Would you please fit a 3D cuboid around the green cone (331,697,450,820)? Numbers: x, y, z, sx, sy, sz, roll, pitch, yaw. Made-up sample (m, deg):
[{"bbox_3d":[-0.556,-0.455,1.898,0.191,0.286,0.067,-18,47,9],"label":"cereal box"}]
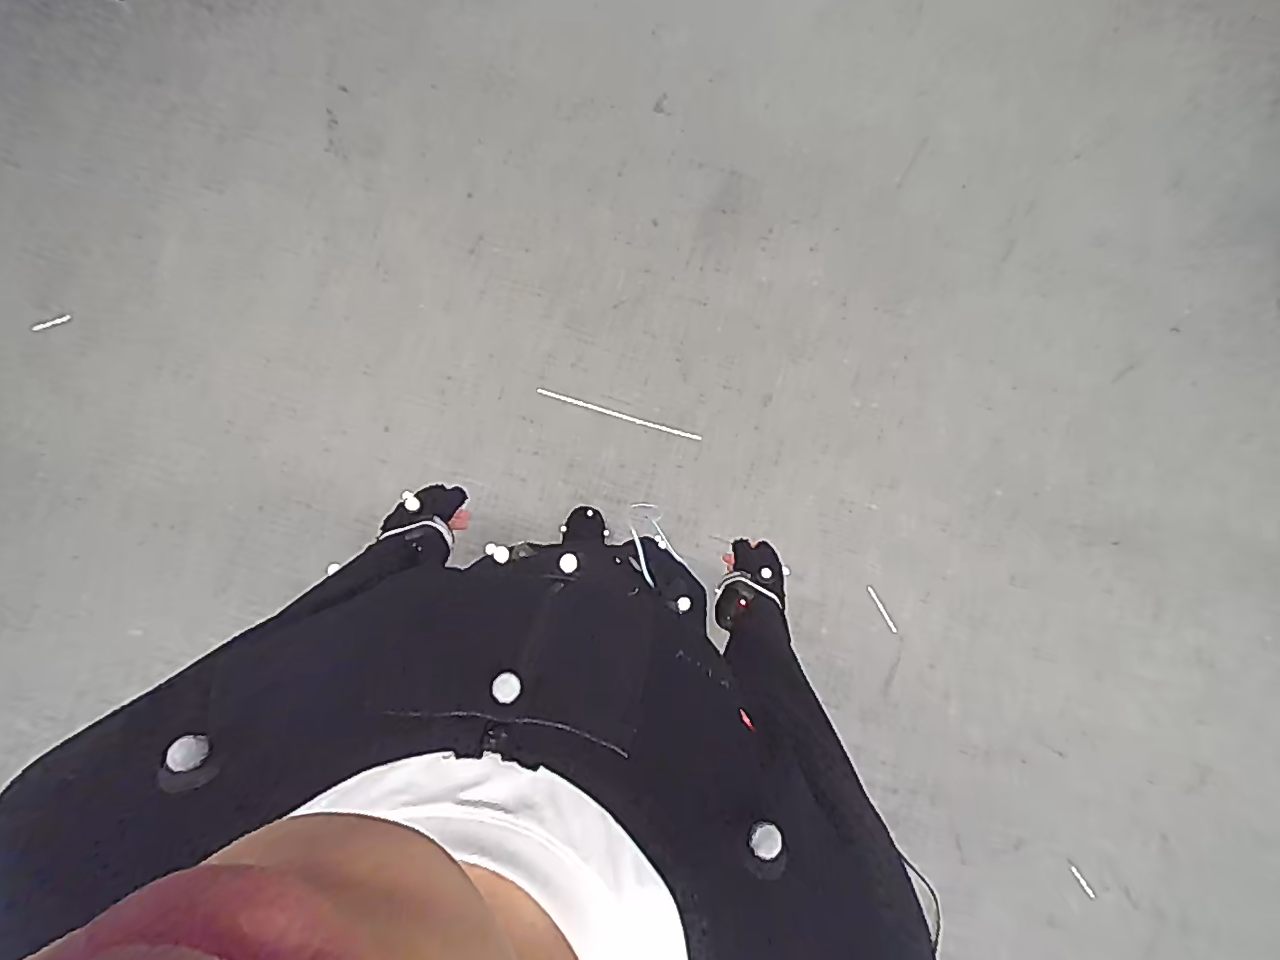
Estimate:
[{"bbox_3d":[-0.596,0.659,1.220,0.202,0.368,0.200,16,83,-2],"label":"green cone"}]
